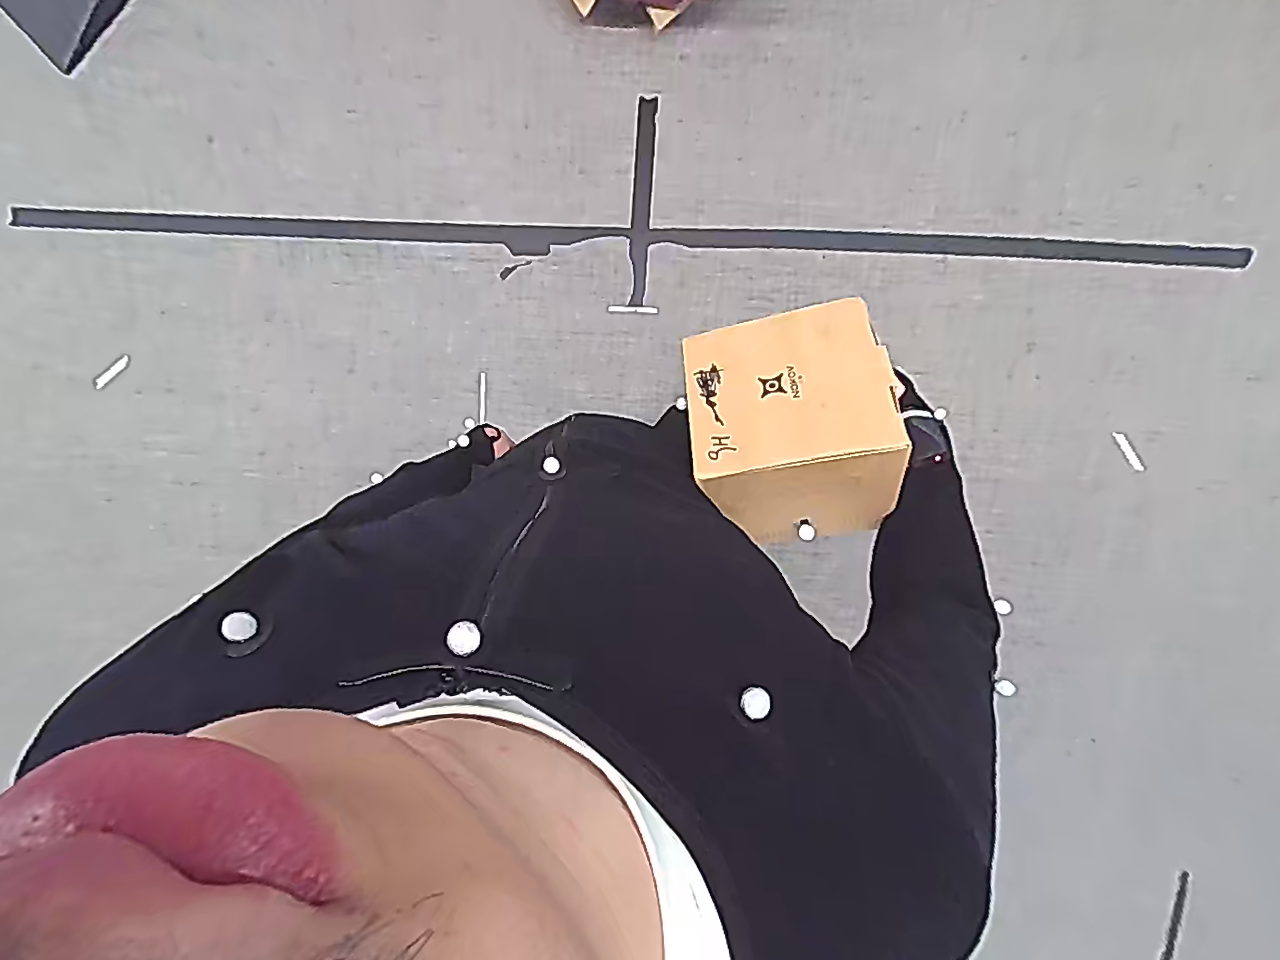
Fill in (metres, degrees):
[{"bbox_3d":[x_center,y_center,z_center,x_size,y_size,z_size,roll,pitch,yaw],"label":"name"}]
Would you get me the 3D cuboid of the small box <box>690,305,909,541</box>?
[{"bbox_3d":[0.156,-0.048,0.567,0.179,0.176,0.168,-9,59,13],"label":"small box"}]
